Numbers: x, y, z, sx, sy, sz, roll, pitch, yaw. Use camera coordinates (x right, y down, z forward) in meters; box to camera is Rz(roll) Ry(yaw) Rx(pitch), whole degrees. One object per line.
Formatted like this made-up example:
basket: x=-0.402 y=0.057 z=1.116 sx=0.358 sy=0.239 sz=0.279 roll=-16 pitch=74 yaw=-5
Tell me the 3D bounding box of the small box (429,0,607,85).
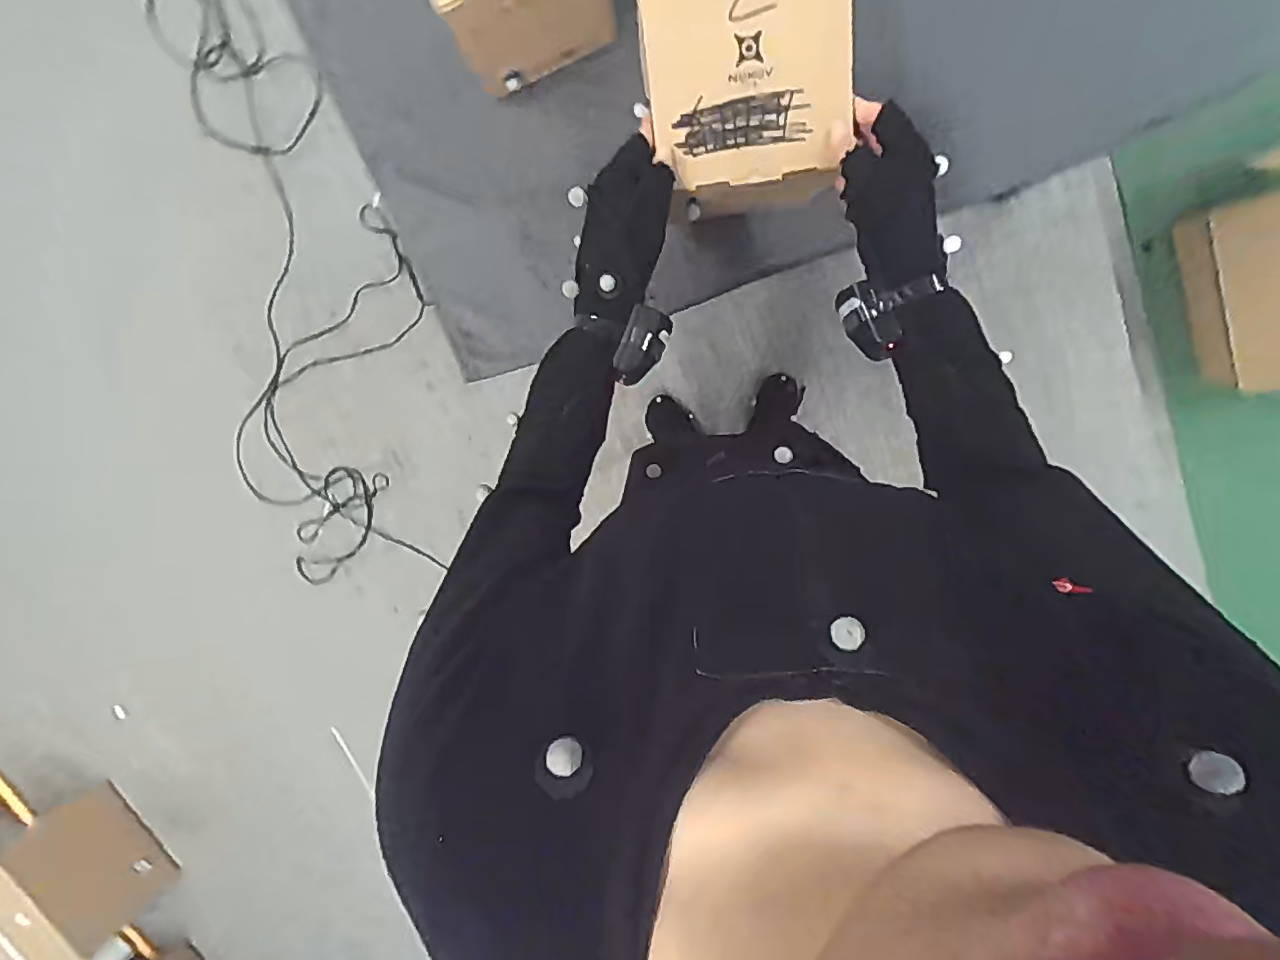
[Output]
small box: x=-0.144 y=-0.559 z=0.563 sx=0.168 sy=0.176 sz=0.179 roll=-22 pitch=98 yaw=7
